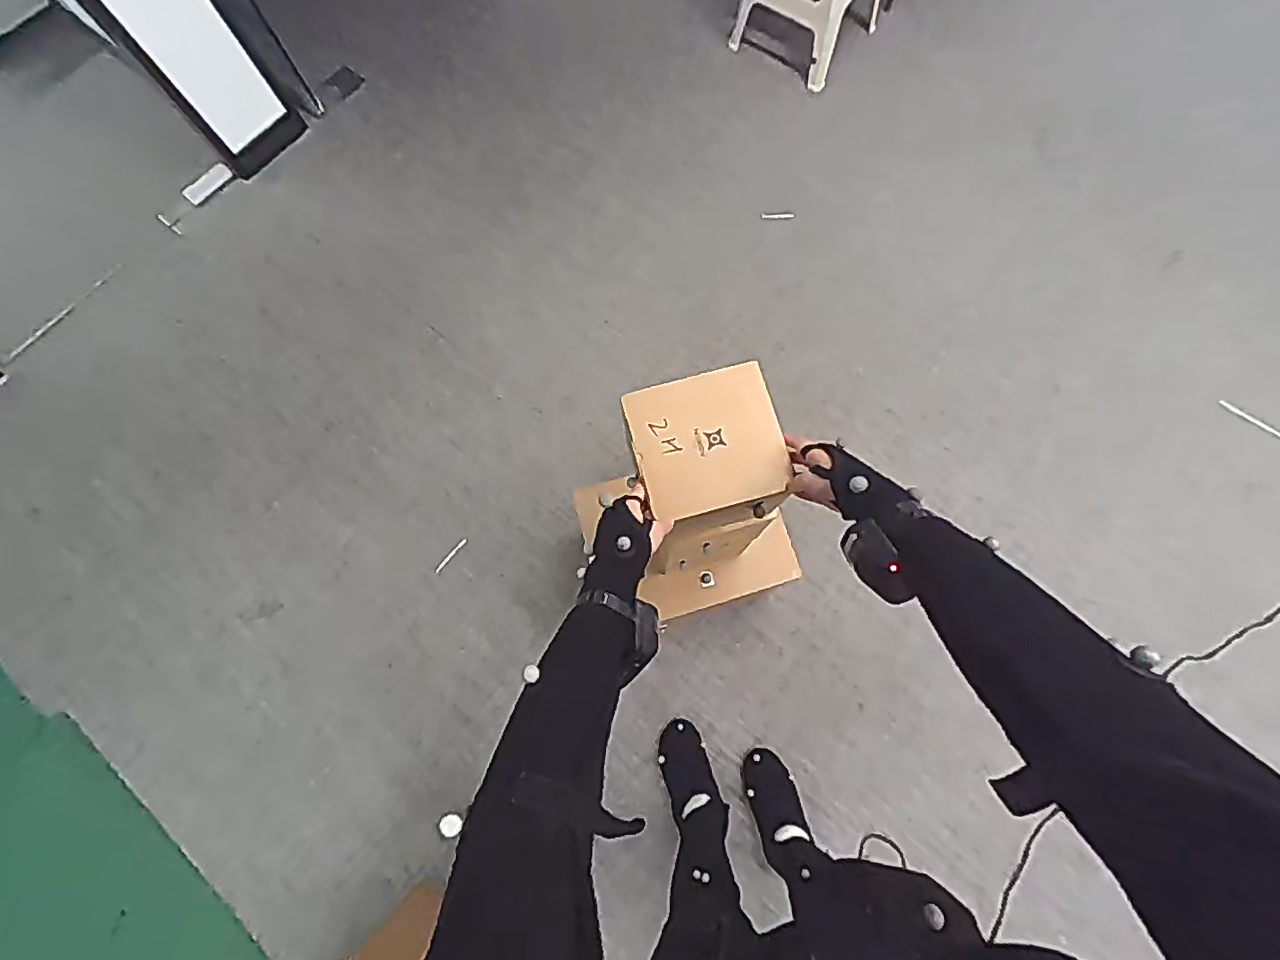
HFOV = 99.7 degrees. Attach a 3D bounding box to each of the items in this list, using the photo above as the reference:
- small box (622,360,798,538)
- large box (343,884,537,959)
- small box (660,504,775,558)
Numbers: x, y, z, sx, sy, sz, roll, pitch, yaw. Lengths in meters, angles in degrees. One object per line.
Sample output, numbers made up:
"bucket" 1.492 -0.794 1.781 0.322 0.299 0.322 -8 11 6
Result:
"small box" 0.081 -0.030 0.709 0.179 0.176 0.168 -15 75 -2
"large box" -0.437 1.078 0.989 0.320 0.320 0.408 24 76 10
"small box" 0.099 0.019 0.873 0.168 0.176 0.179 -16 71 -3
